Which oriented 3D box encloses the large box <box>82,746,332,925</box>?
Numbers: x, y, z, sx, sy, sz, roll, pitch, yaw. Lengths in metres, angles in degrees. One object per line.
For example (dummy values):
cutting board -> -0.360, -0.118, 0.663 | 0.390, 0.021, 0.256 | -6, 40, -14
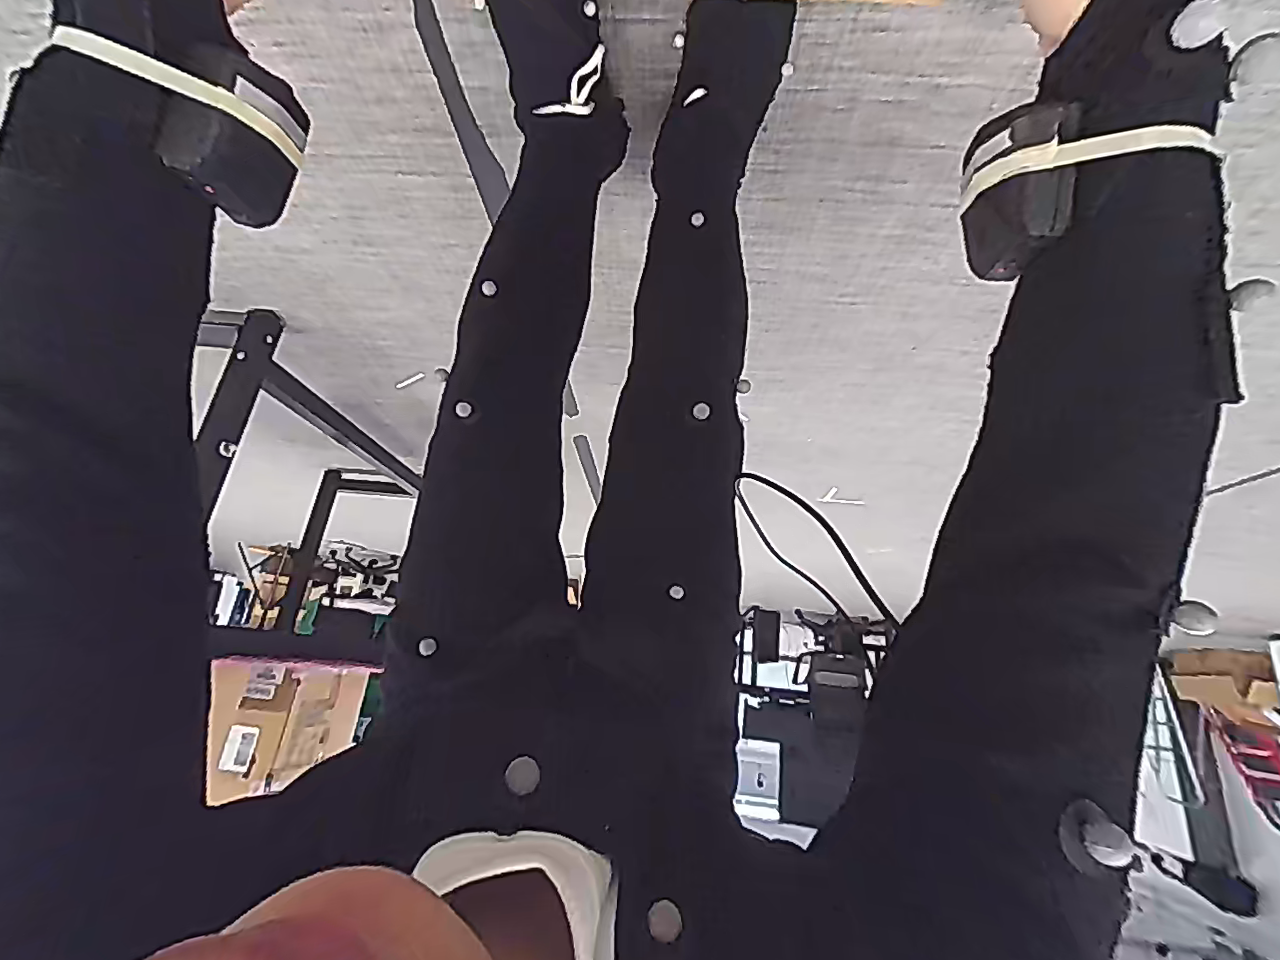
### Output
large box -> -1.167, 0.957, 1.504 | 0.408, 0.320, 0.320 | 5, 165, 3
